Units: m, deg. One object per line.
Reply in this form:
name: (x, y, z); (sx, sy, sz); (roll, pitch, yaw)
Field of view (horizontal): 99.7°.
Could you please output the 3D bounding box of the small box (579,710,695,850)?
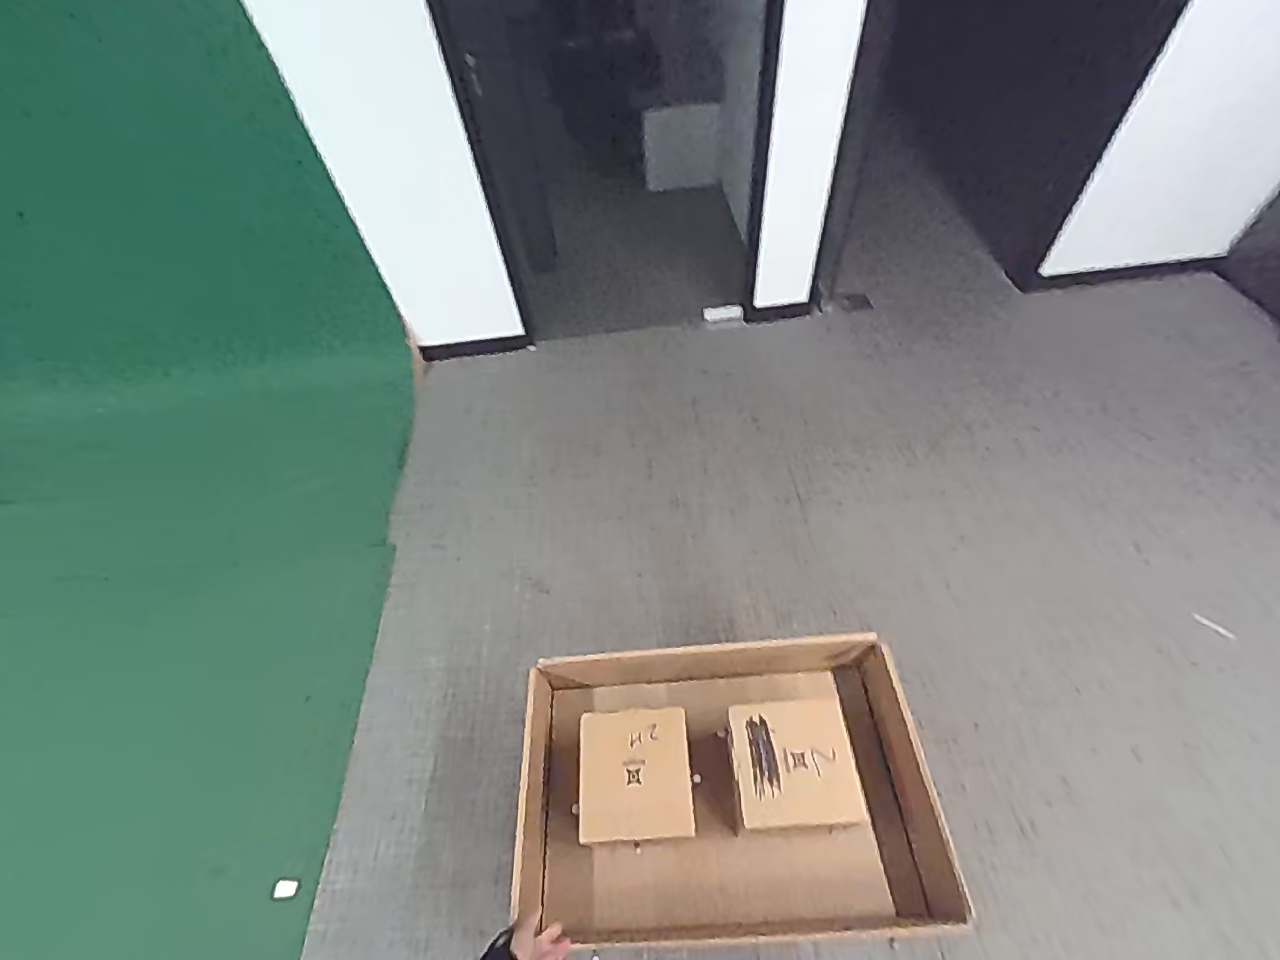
small box: (0.000, 0.483, 0.863); (0.168, 0.176, 0.179); (-4, 52, 2)
